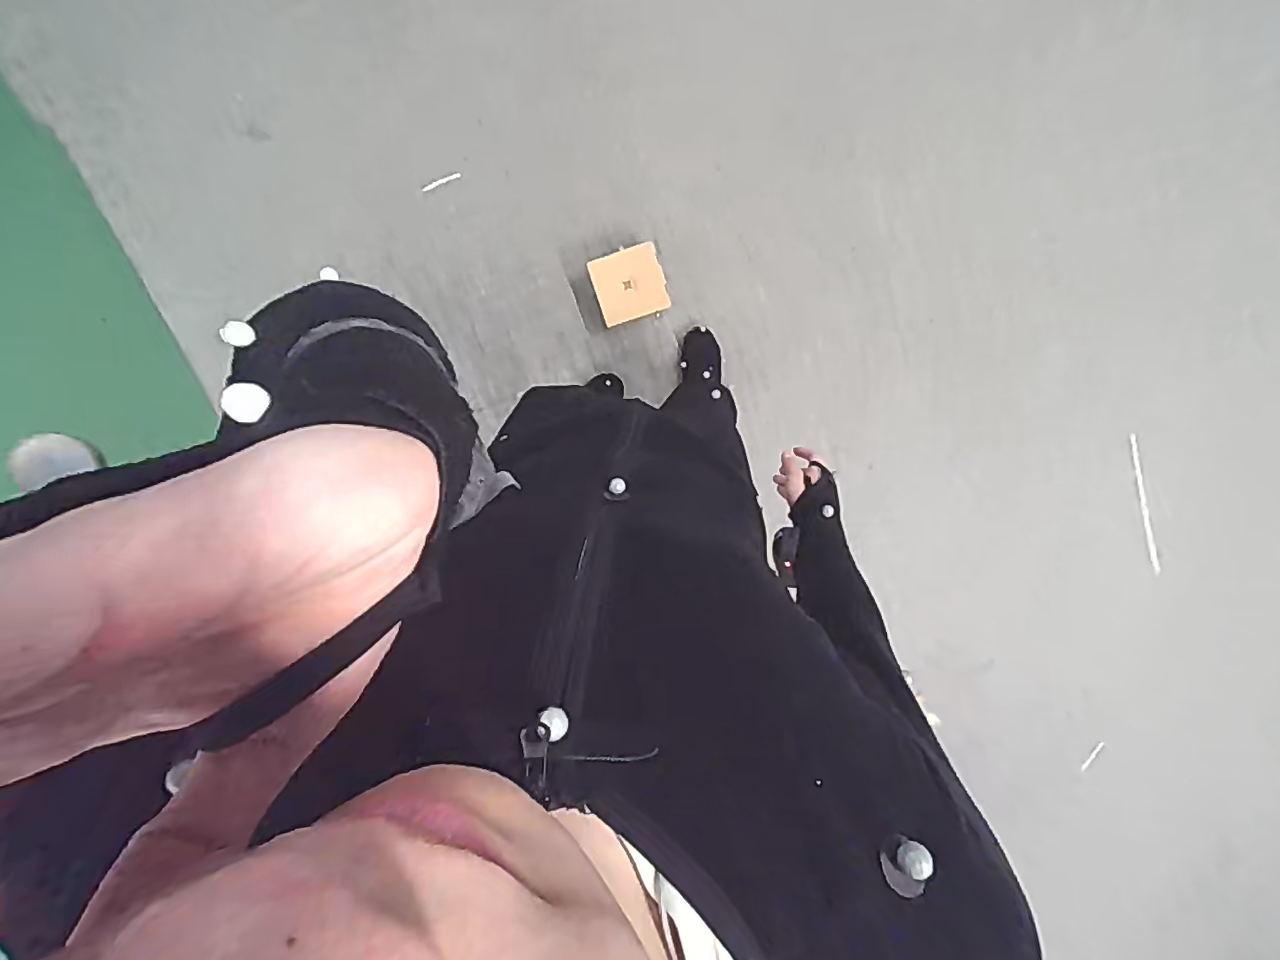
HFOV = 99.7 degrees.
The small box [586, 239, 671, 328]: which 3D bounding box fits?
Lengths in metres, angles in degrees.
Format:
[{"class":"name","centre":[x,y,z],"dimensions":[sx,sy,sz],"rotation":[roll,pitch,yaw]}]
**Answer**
[{"class":"small box","centre":[-0.027,-0.504,1.415],"dimensions":[0.179,0.176,0.168],"rotation":[-19,103,3]}]
